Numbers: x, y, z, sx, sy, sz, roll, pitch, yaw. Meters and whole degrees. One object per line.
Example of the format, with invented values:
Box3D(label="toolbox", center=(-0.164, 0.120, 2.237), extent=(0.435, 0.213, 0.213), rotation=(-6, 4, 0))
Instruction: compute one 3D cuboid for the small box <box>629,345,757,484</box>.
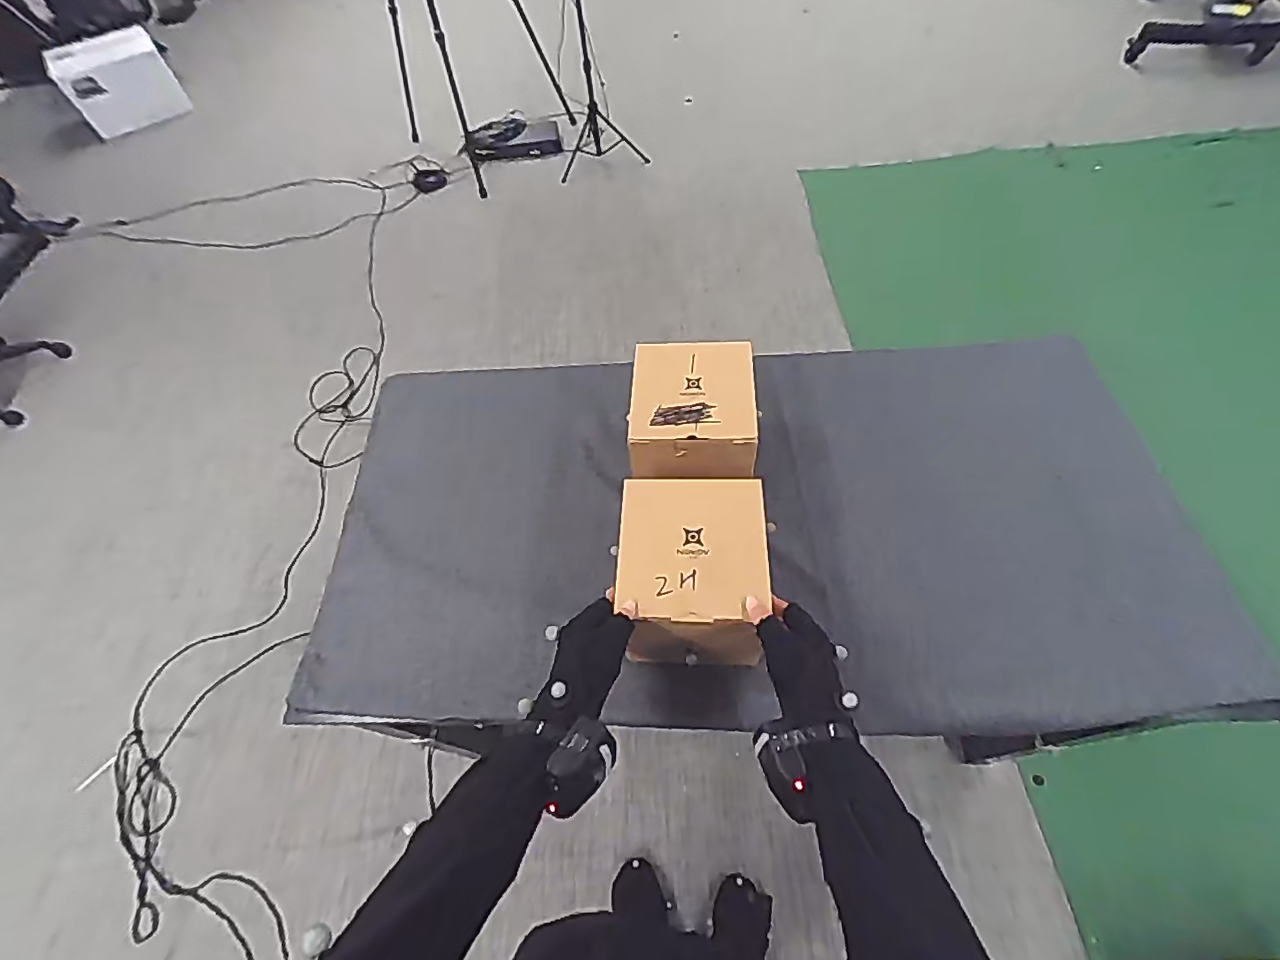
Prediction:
Box3D(label="small box", center=(0.080, -0.073, 0.791), extent=(0.168, 0.176, 0.179), rotation=(0, 58, 6))

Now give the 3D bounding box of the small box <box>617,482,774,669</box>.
Box3D(label="small box", center=(0.066, 0.120, 0.668), extent=(0.168, 0.176, 0.179), rotation=(0, 57, 6))
